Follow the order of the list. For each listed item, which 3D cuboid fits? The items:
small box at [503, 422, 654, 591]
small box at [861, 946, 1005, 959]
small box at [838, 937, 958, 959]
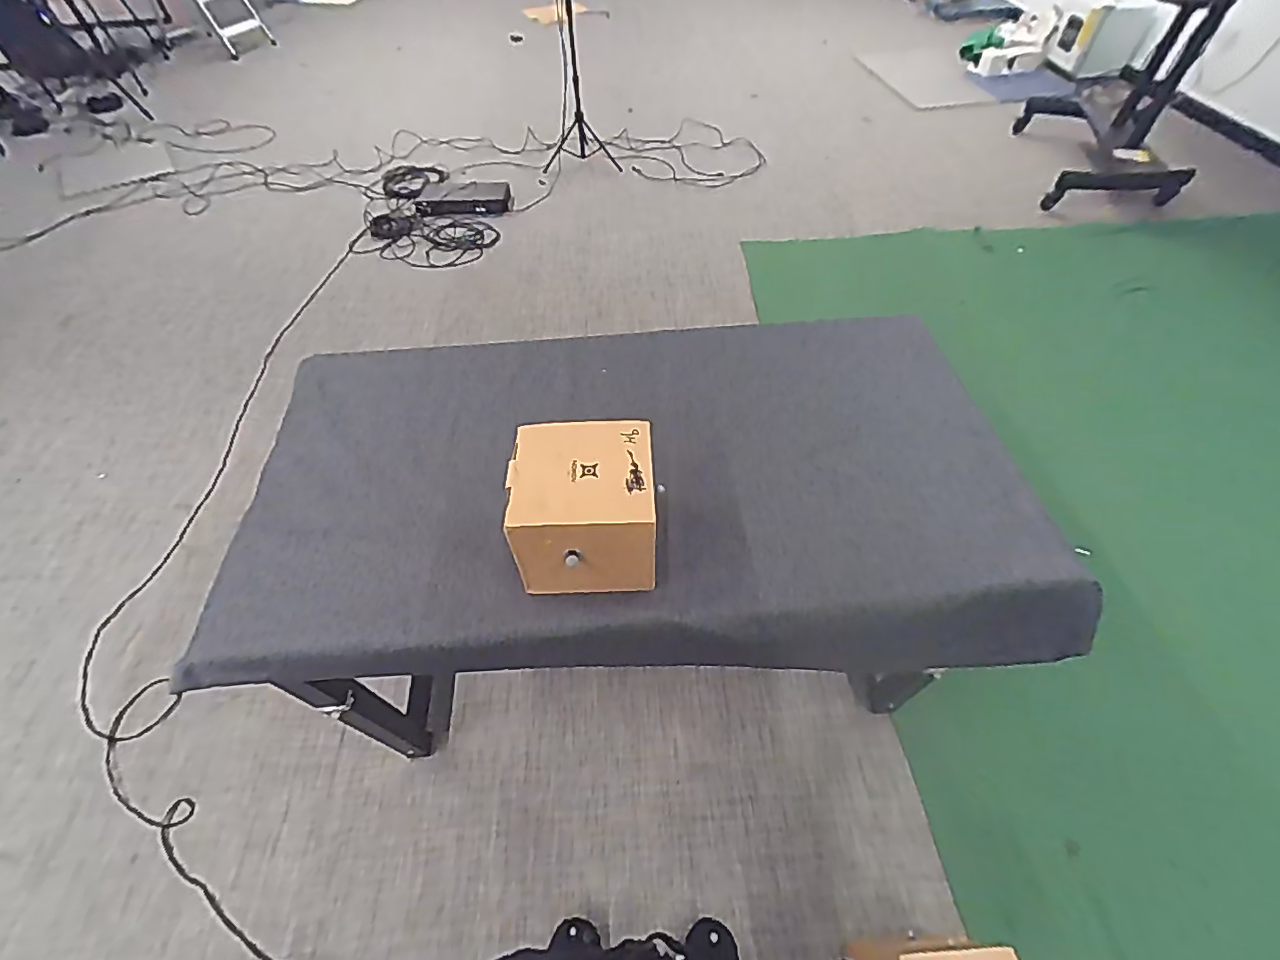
[{"bbox_3d":[-0.071,0.040,0.731,0.179,0.176,0.168,-1,52,0],"label":"small box"},{"bbox_3d":[0.465,0.830,0.830,0.179,0.176,0.168,-3,51,0],"label":"small box"},{"bbox_3d":[0.479,0.930,0.961,0.179,0.176,0.168,-5,51,-1],"label":"small box"}]
